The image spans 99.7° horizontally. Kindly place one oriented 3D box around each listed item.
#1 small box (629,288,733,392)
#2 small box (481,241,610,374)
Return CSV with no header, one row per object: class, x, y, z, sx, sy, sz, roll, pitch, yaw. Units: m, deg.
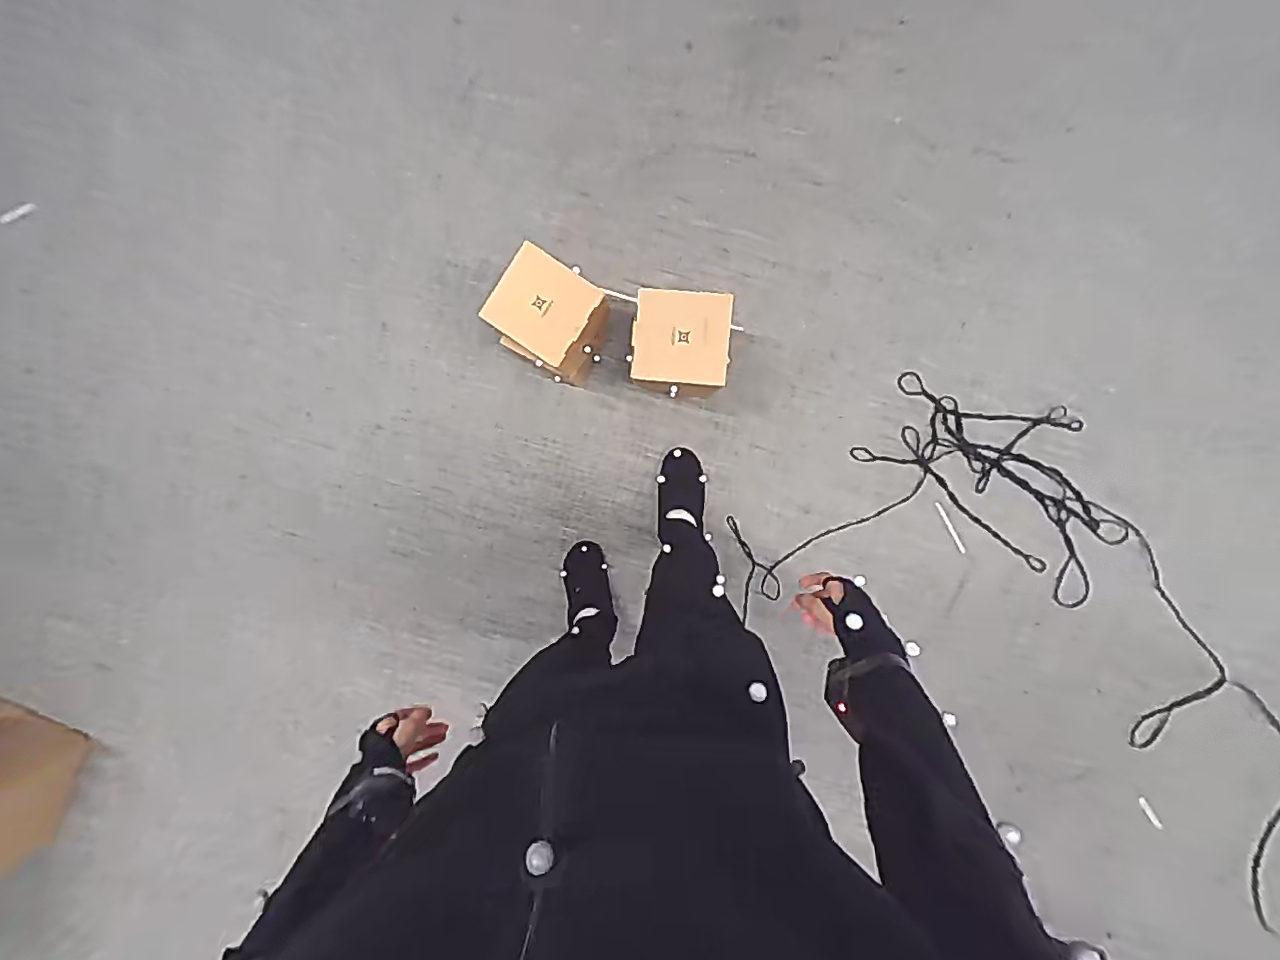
small box,0.079,-0.265,1.058,0.179,0.176,0.168,5,95,2
small box,-0.176,-0.327,1.068,0.179,0.176,0.168,34,94,-1
